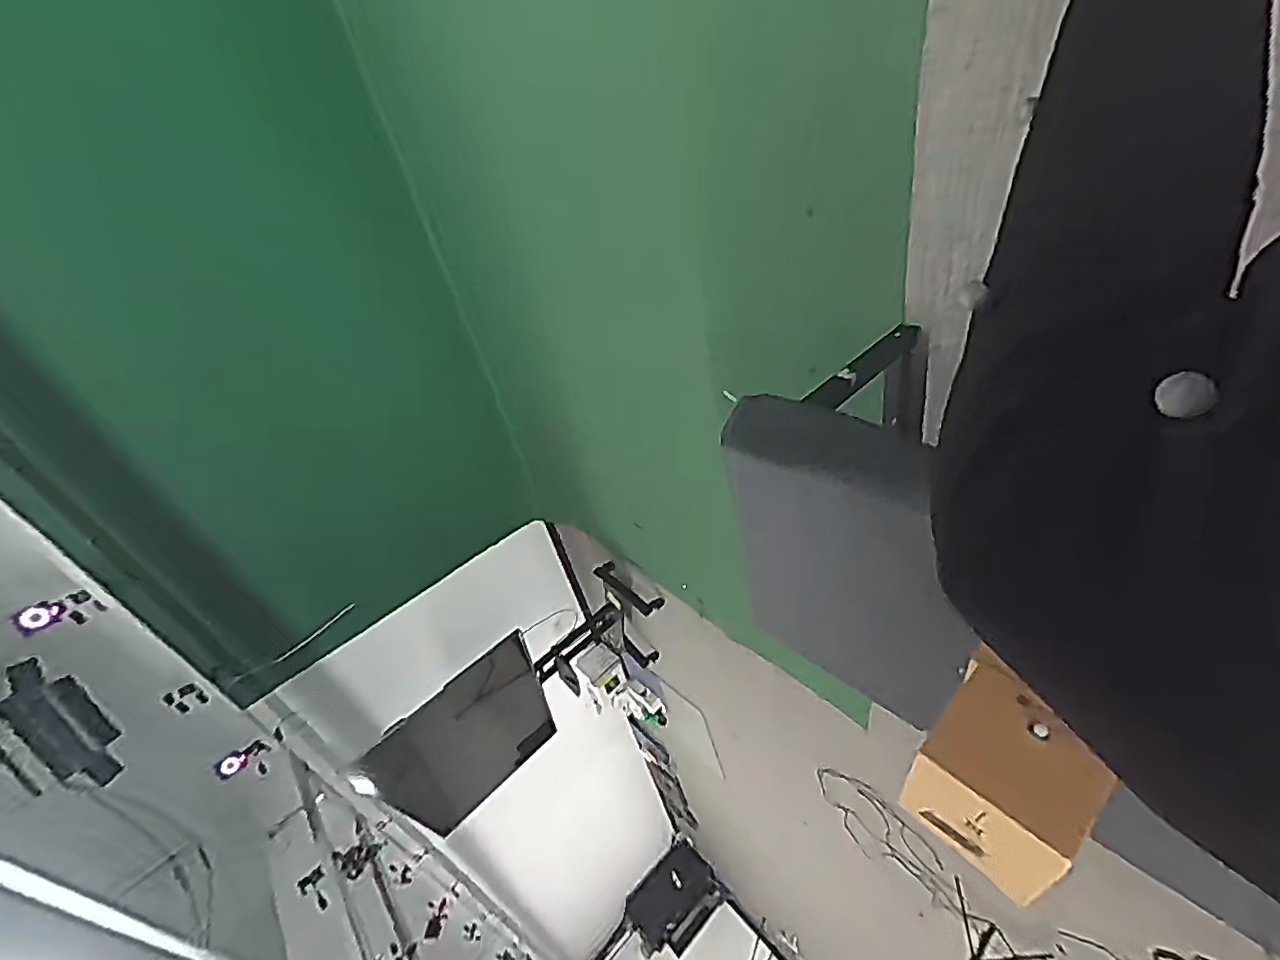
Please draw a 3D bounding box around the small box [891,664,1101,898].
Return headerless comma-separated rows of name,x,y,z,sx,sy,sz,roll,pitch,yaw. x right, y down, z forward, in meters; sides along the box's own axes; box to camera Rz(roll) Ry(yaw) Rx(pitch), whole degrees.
small box,0.456,0.384,0.706,0.168,0.176,0.179,30,147,43
